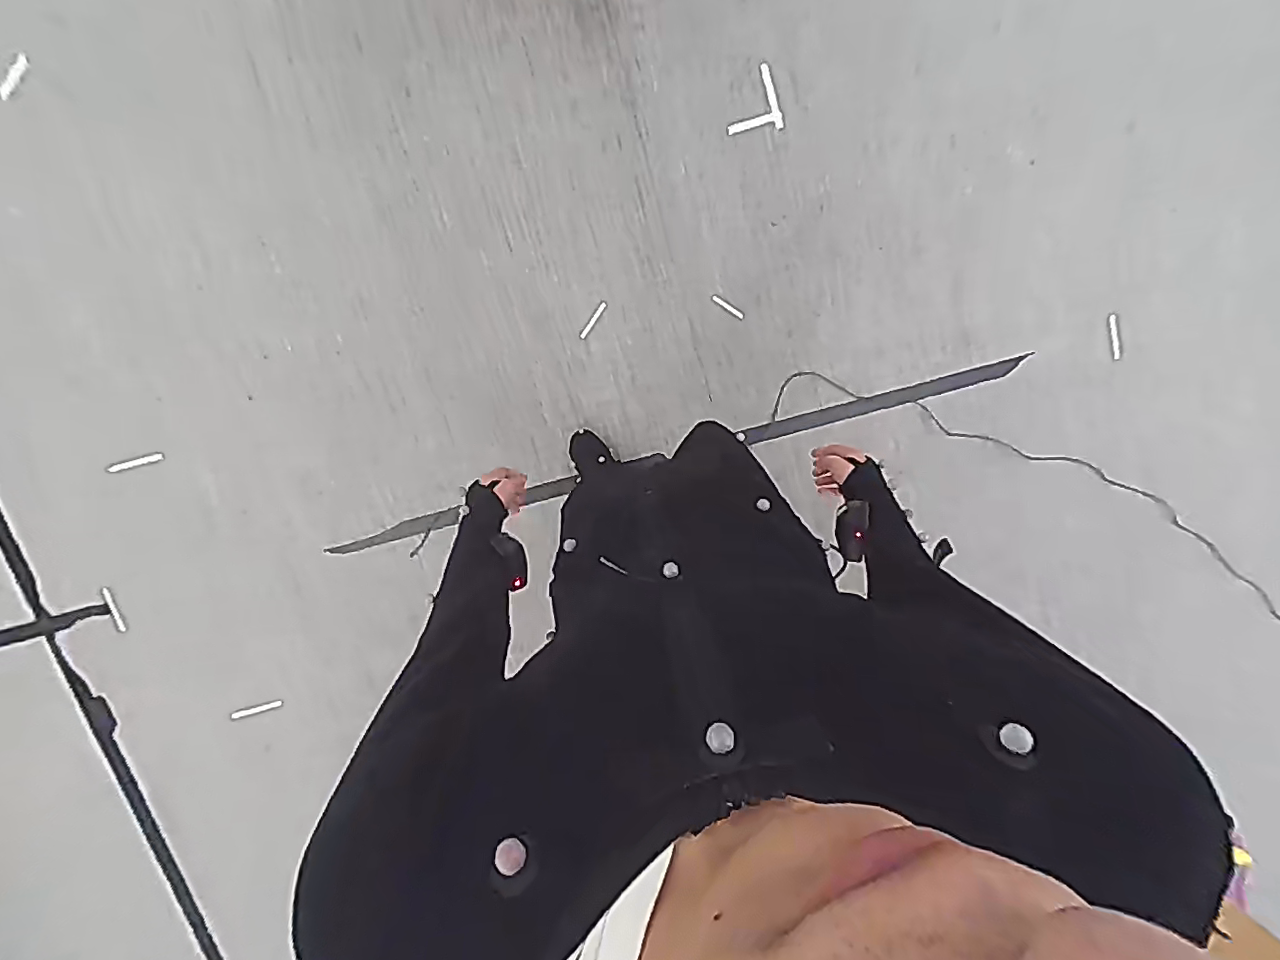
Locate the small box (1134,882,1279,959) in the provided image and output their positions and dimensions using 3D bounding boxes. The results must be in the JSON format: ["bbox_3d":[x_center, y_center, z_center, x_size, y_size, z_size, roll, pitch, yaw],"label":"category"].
[{"bbox_3d":[1.072,0.902,1.007,0.179,0.176,0.168,-11,98,-2],"label":"small box"}]
